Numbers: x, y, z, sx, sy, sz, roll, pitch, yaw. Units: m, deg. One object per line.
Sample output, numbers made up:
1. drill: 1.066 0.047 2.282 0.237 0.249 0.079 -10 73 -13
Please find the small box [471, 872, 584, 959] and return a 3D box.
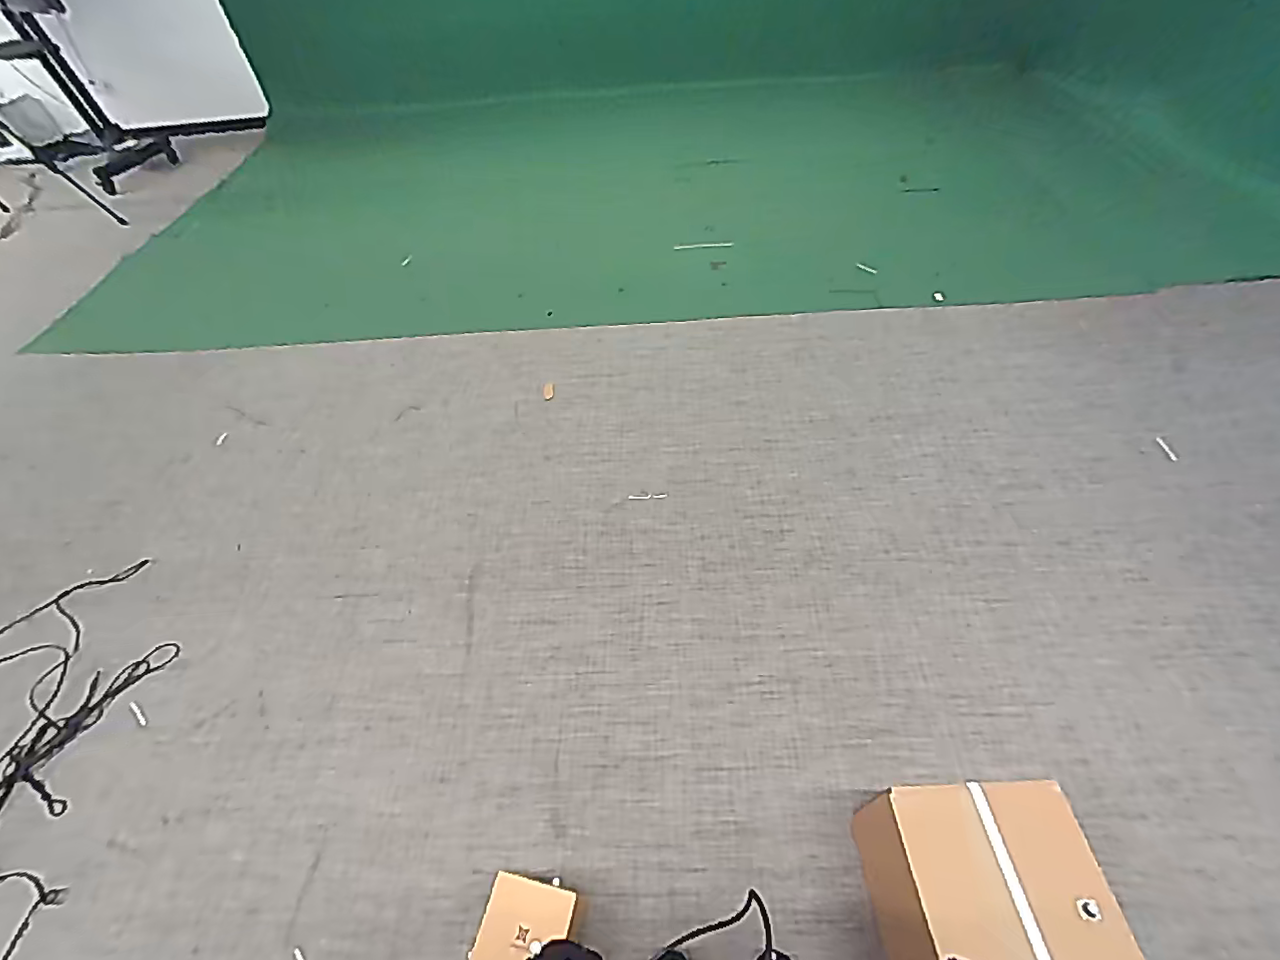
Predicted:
1. small box: -0.216 0.908 1.072 0.168 0.176 0.179 8 52 11
